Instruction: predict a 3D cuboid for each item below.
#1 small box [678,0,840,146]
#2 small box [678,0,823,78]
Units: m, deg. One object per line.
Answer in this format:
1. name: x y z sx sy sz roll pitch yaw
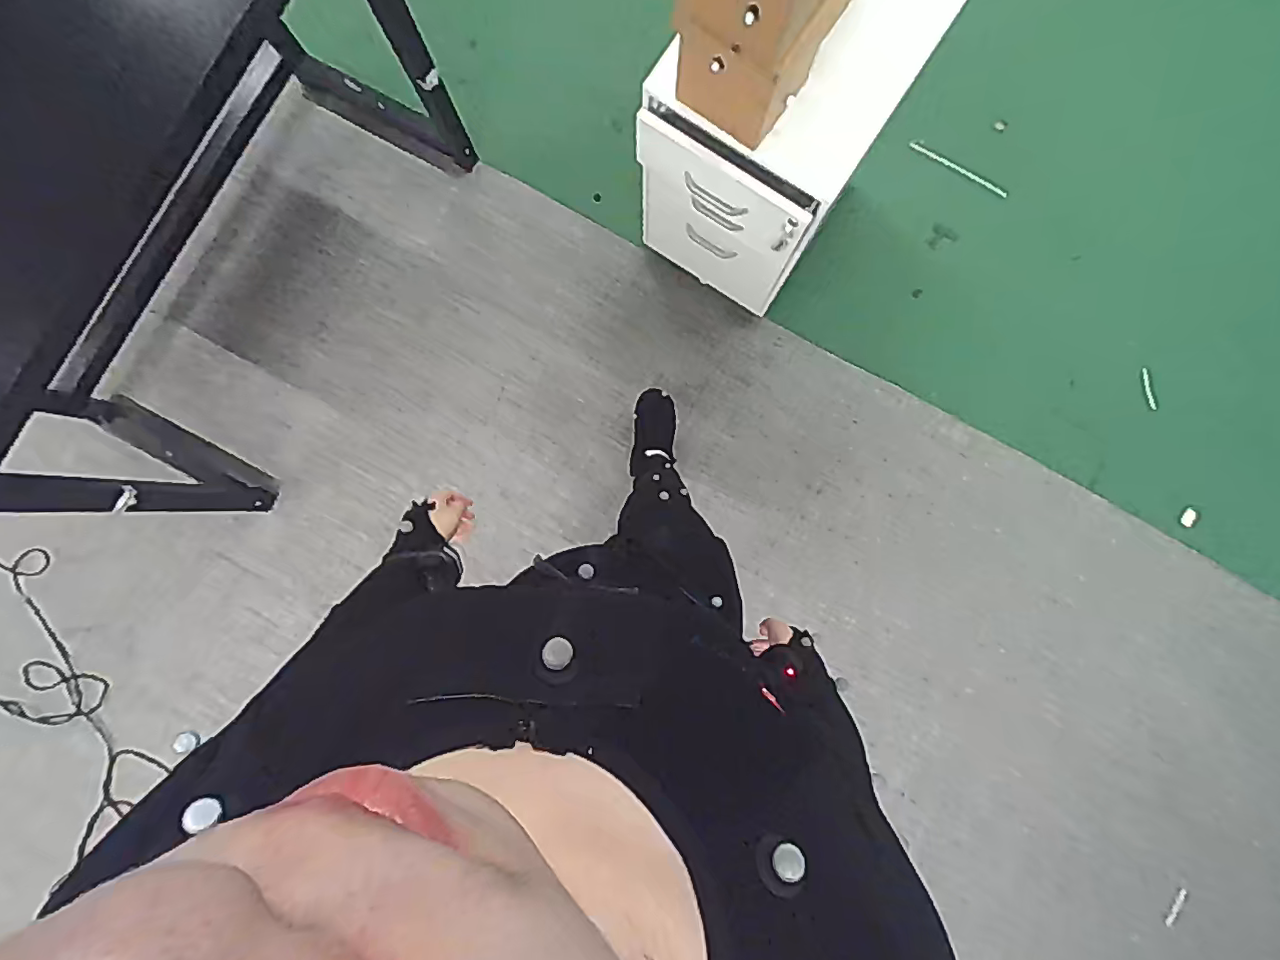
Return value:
1. small box: 0.176 -0.685 0.862 0.179 0.176 0.168 36 86 2
2. small box: 0.160 -0.684 0.700 0.168 0.176 0.179 33 86 1
